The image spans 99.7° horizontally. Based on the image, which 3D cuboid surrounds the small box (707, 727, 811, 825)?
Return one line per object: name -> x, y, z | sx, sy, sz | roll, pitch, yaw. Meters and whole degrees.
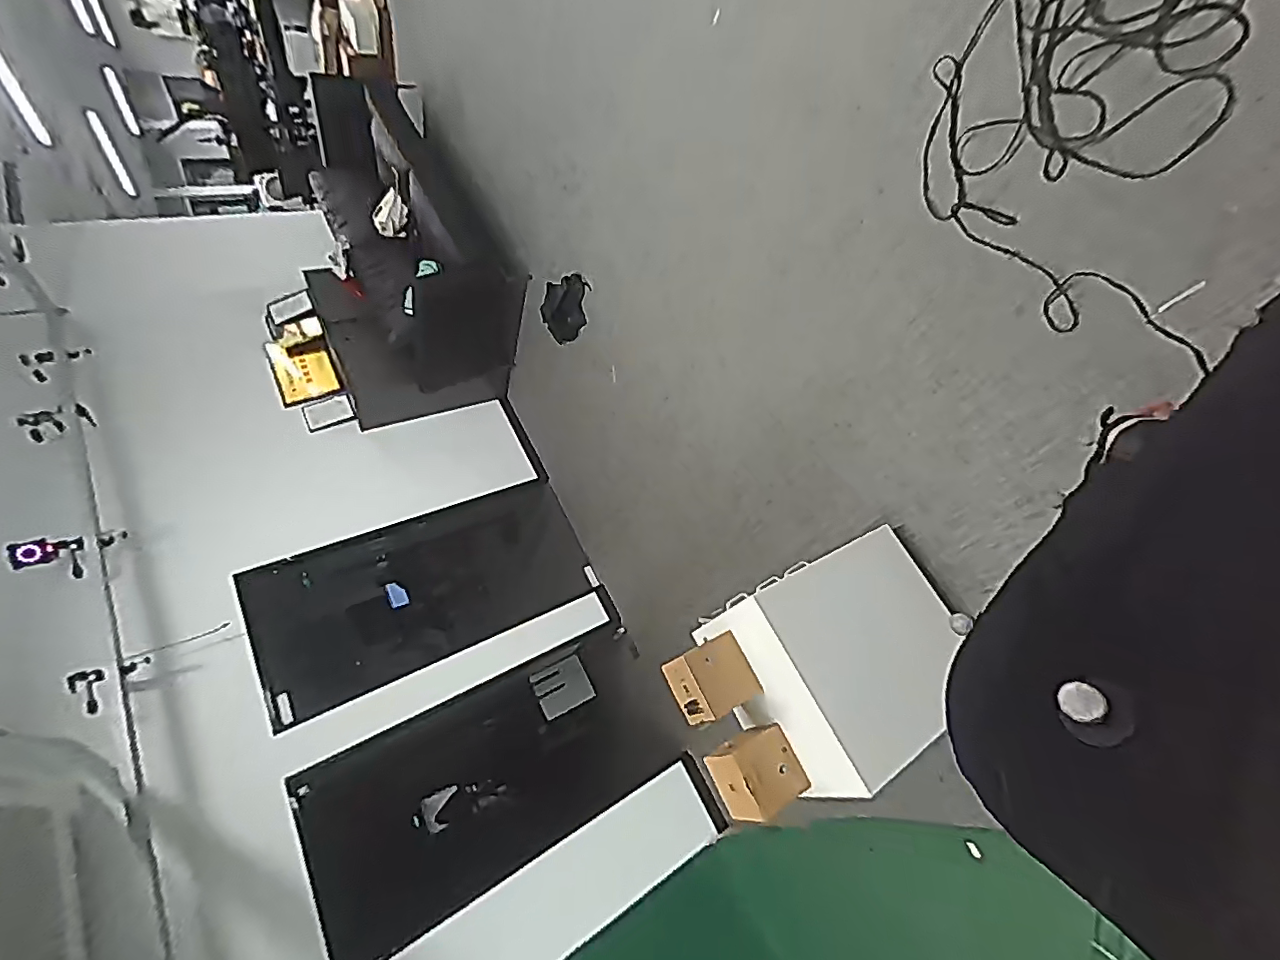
small box -> 0.312, 0.773, 1.422 | 0.168, 0.176, 0.179 | 62, 149, 19
